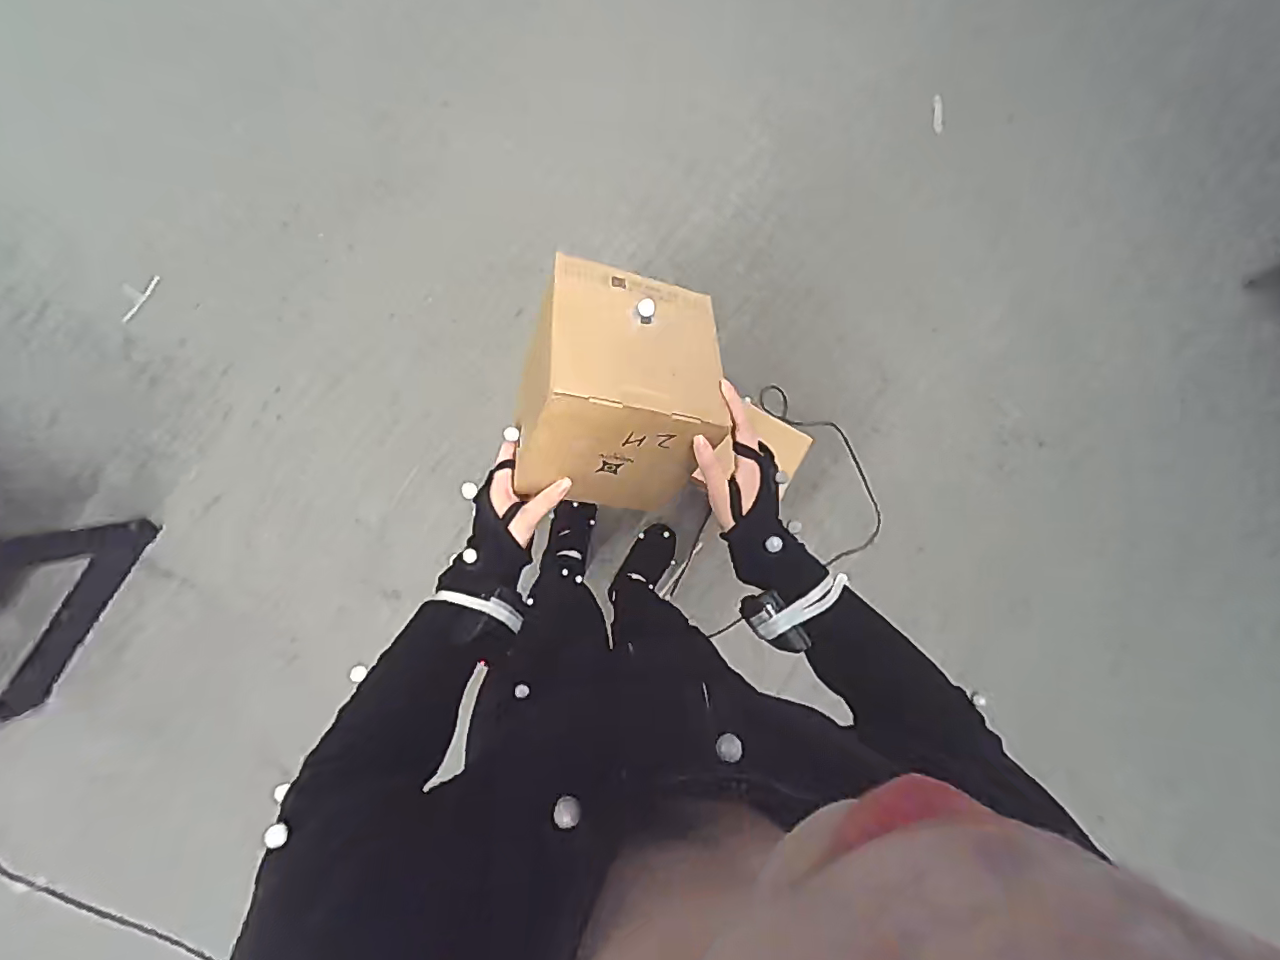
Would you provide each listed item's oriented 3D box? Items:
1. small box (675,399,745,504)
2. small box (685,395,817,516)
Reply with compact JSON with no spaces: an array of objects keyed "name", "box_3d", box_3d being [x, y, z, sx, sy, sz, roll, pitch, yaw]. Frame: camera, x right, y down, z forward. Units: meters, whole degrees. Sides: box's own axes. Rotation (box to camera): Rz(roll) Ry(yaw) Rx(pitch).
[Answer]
[{"name":"small box","box_3d":[0.188,-0.062,1.221,0.168,0.176,0.179,25,90,-3]},{"name":"small box","box_3d":[0.207,-0.049,1.059,0.179,0.176,0.168,28,91,-2]}]
